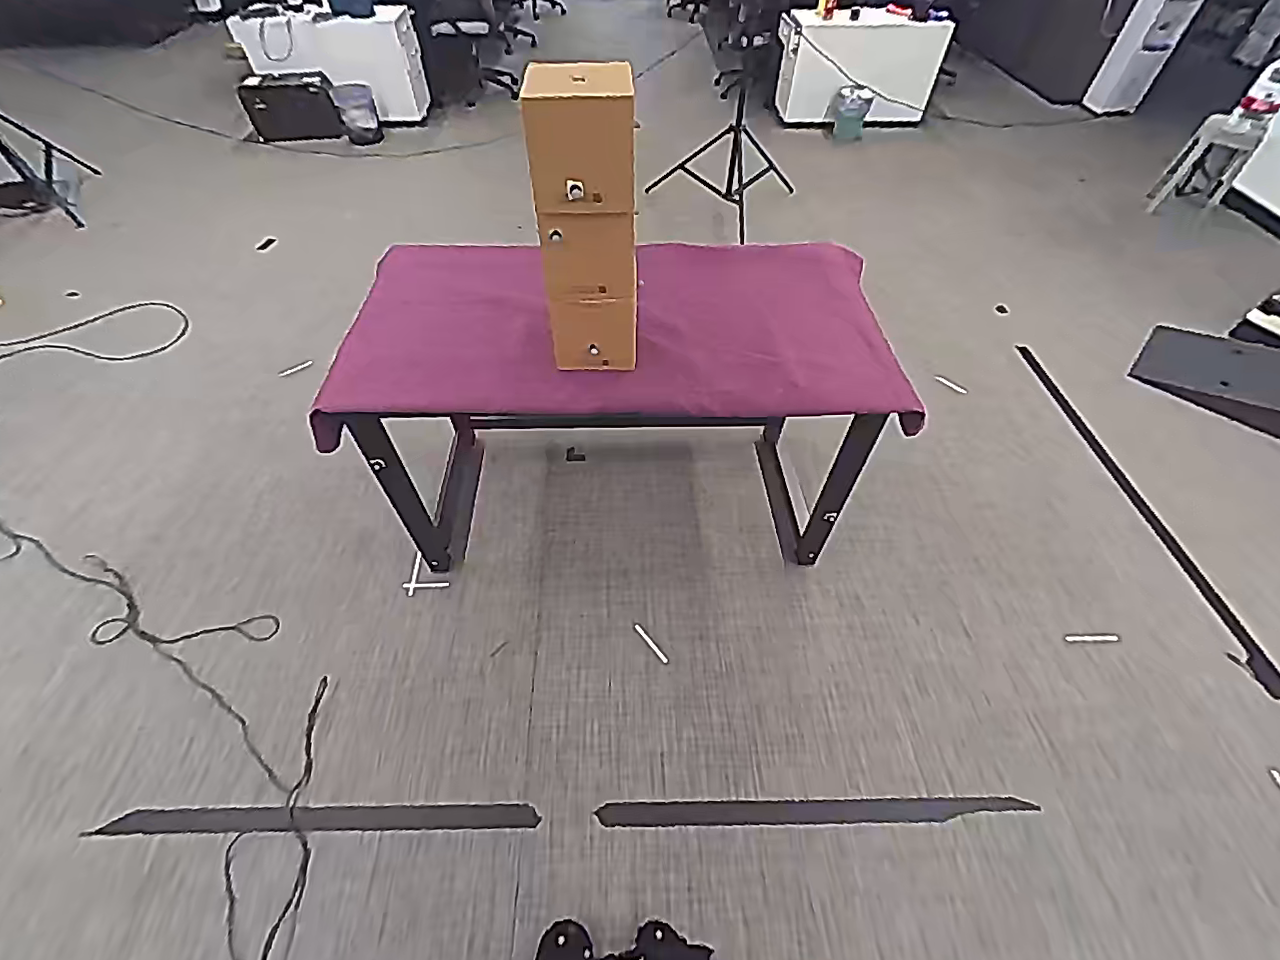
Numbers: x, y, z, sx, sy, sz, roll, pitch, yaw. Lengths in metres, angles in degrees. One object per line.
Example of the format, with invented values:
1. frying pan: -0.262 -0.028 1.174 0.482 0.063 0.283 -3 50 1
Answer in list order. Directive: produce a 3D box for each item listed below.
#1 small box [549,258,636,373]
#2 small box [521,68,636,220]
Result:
1. small box: -0.093 -0.347 1.142 0.168 0.176 0.179 0 50 0
2. small box: -0.093 -0.546 0.882 0.168 0.176 0.179 -3 51 -2
